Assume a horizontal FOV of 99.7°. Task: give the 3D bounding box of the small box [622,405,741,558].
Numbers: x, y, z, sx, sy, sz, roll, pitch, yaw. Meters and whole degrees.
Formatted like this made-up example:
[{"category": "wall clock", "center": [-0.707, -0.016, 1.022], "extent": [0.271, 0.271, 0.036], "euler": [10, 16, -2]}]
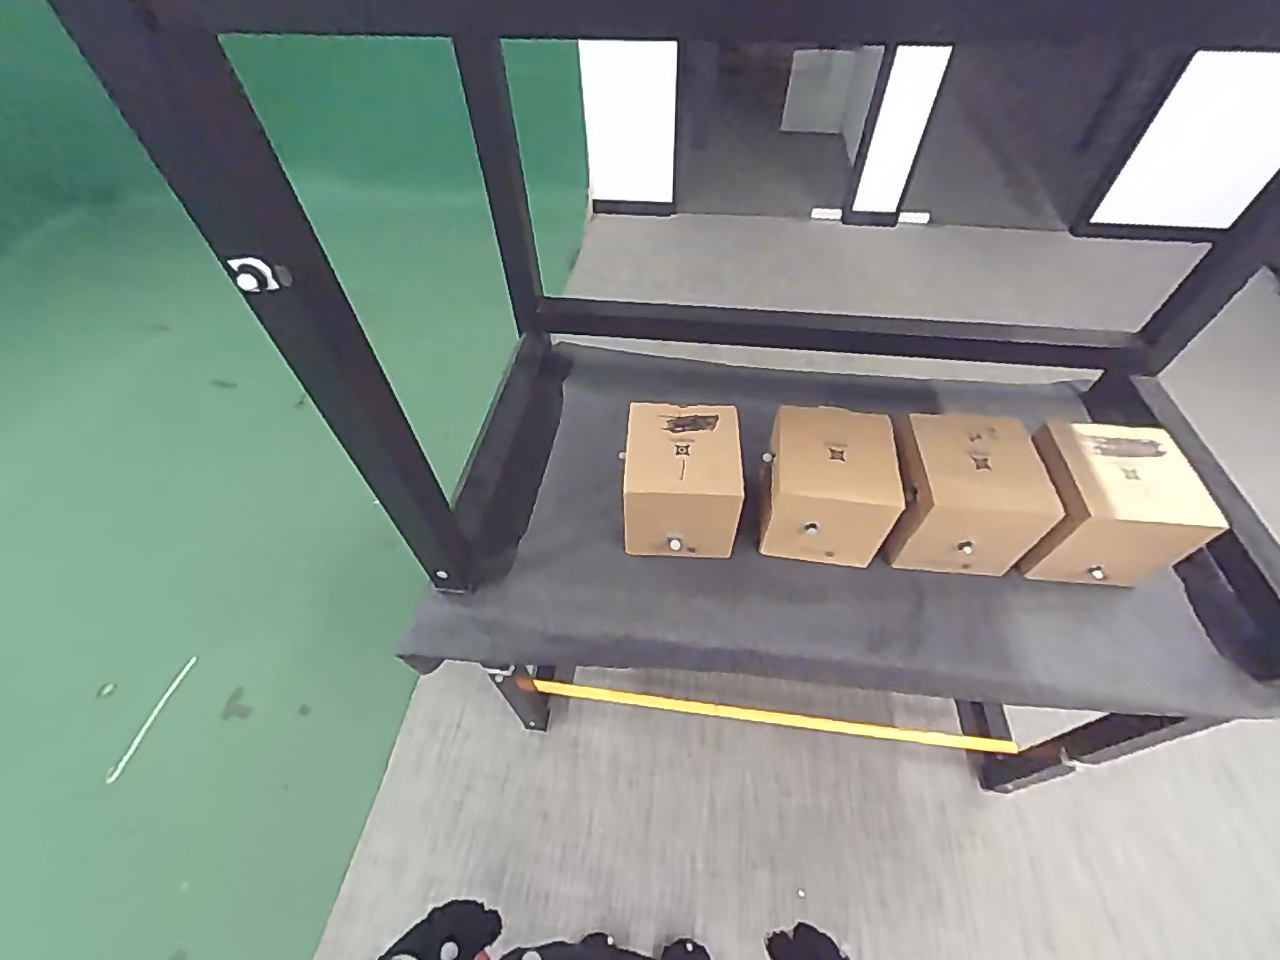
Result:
[{"category": "small box", "center": [0.060, 0.003, 0.852], "extent": [0.168, 0.176, 0.179], "euler": [1, 52, 2]}]
